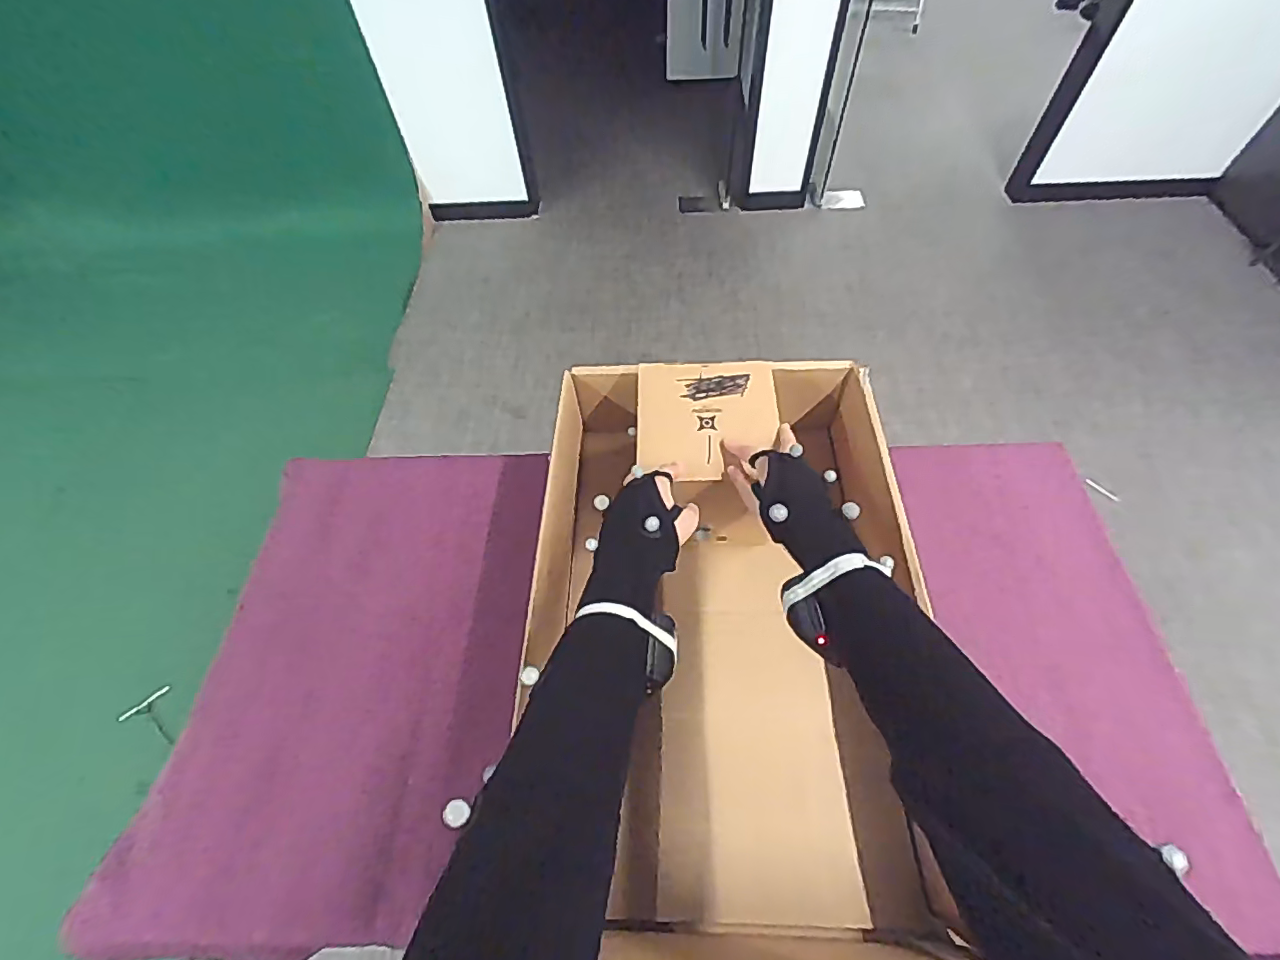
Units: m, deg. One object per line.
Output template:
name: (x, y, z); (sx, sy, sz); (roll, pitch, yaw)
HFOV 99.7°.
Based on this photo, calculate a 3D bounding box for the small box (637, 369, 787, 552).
small box: (0.084, -0.022, 0.696); (0.168, 0.176, 0.179); (-1, 59, 3)
